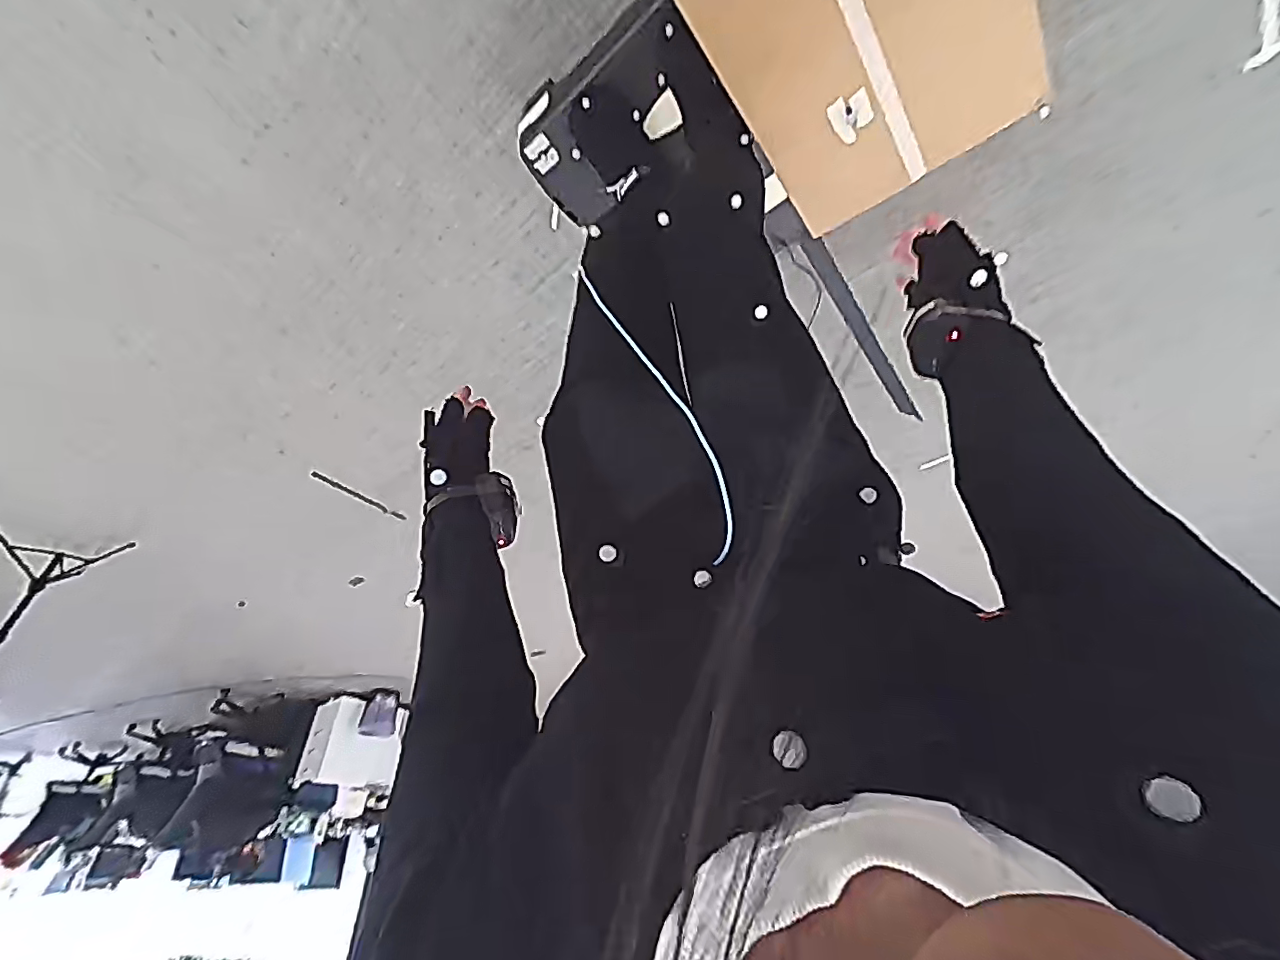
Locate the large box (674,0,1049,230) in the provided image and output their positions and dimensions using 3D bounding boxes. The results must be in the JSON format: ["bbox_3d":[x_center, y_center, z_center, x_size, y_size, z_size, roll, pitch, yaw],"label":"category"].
[{"bbox_3d":[0.276,-0.648,0.718,0.320,0.320,0.408,-21,140,35],"label":"large box"}]
